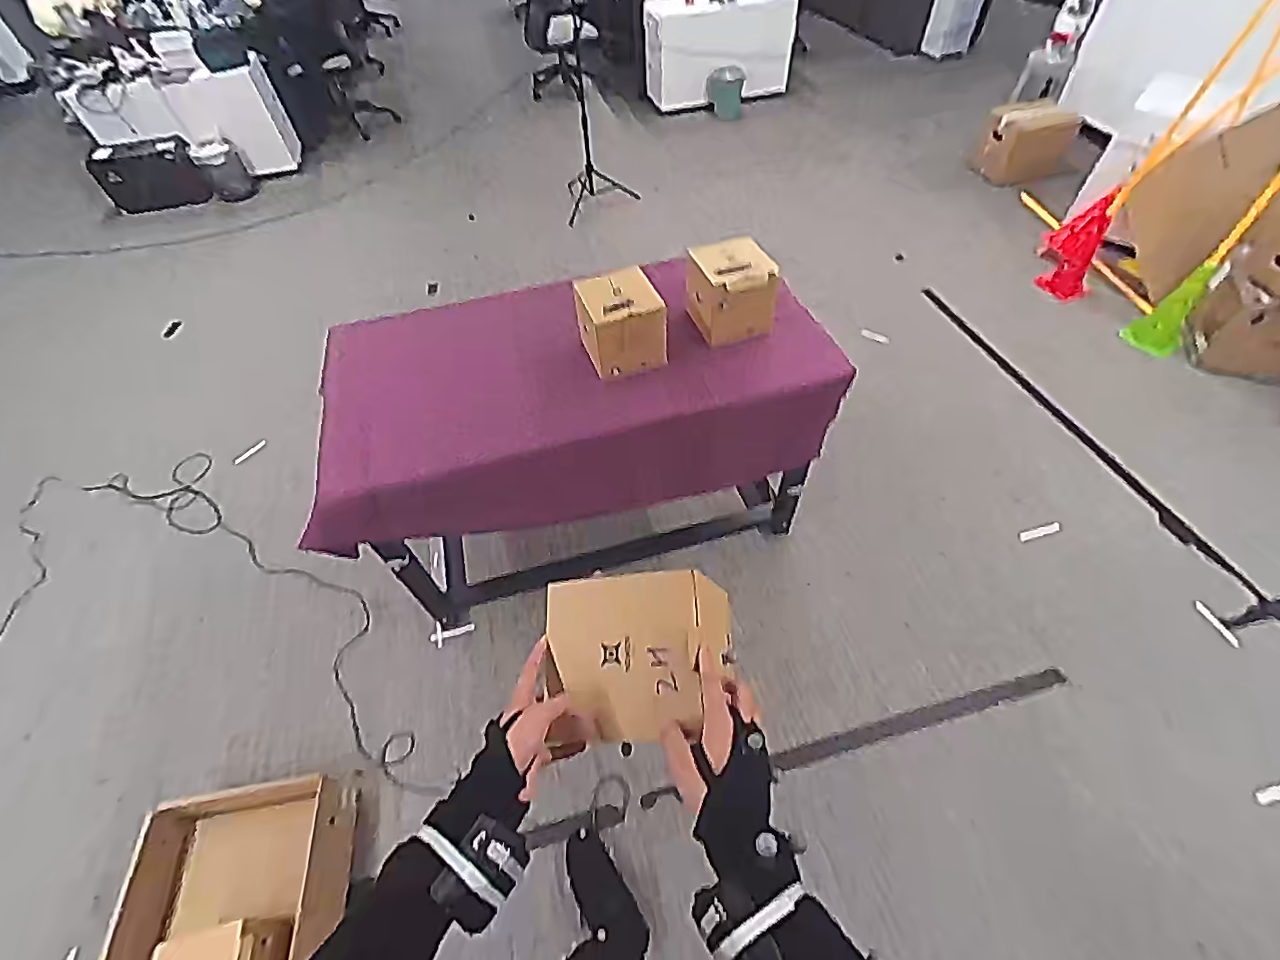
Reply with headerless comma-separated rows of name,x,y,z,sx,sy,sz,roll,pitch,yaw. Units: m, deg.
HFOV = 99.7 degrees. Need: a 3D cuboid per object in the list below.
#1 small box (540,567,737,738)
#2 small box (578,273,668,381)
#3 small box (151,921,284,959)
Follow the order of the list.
small box,0.005,0.206,0.630,0.179,0.176,0.168,-9,67,18
small box,-0.037,-0.355,1.280,0.168,0.176,0.179,-18,53,-11
small box,-0.870,1.030,1.109,0.179,0.176,0.168,-13,51,-7
